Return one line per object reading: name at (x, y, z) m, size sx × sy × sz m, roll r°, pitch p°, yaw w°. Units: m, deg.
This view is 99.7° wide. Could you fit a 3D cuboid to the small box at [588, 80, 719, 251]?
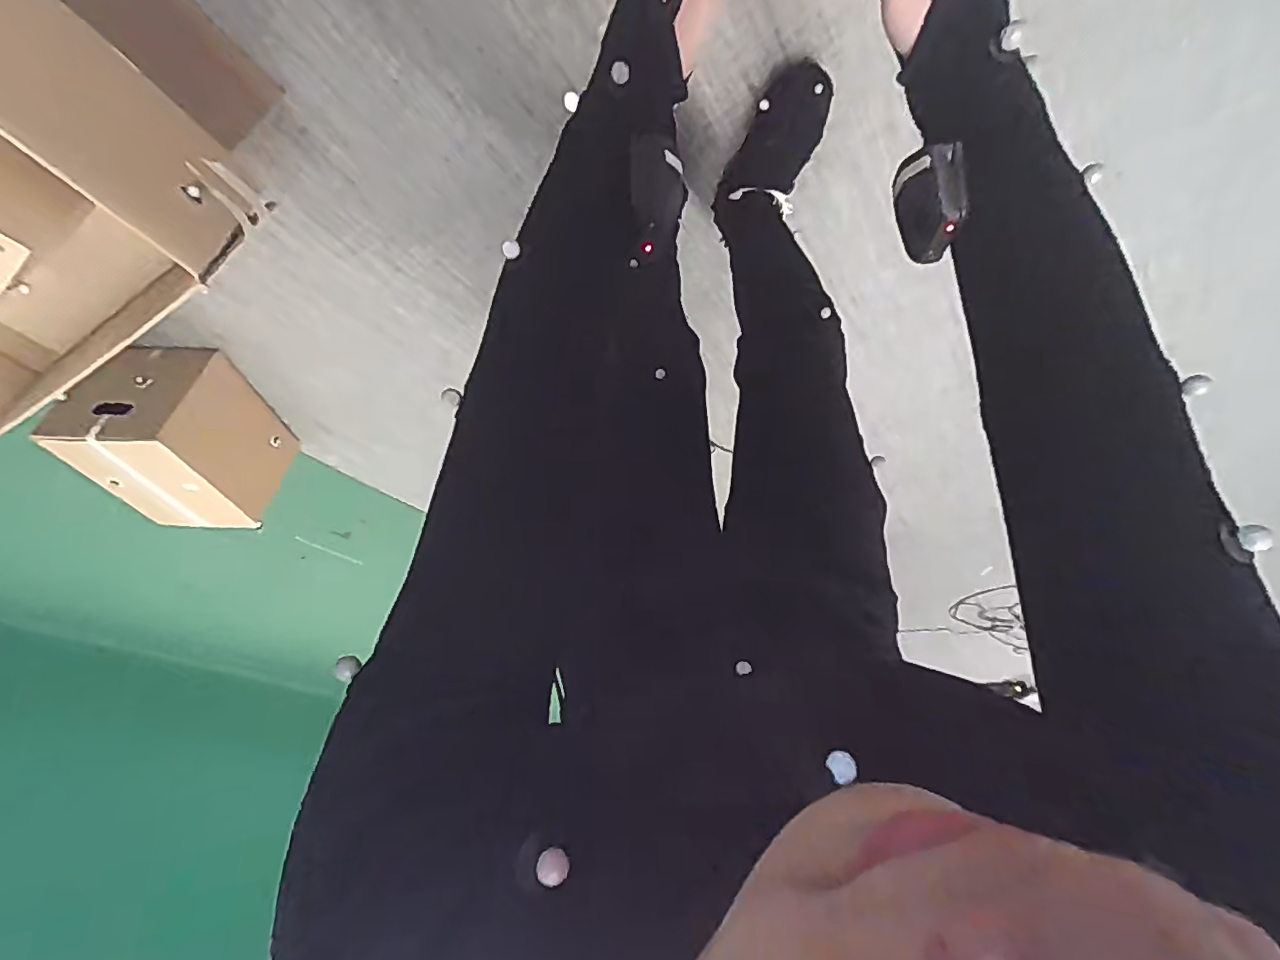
small box at (0.022, -0.541, 0.939) m, size 0.179 × 0.176 × 0.168 m, roll 27°, pitch 135°, yaw -19°
